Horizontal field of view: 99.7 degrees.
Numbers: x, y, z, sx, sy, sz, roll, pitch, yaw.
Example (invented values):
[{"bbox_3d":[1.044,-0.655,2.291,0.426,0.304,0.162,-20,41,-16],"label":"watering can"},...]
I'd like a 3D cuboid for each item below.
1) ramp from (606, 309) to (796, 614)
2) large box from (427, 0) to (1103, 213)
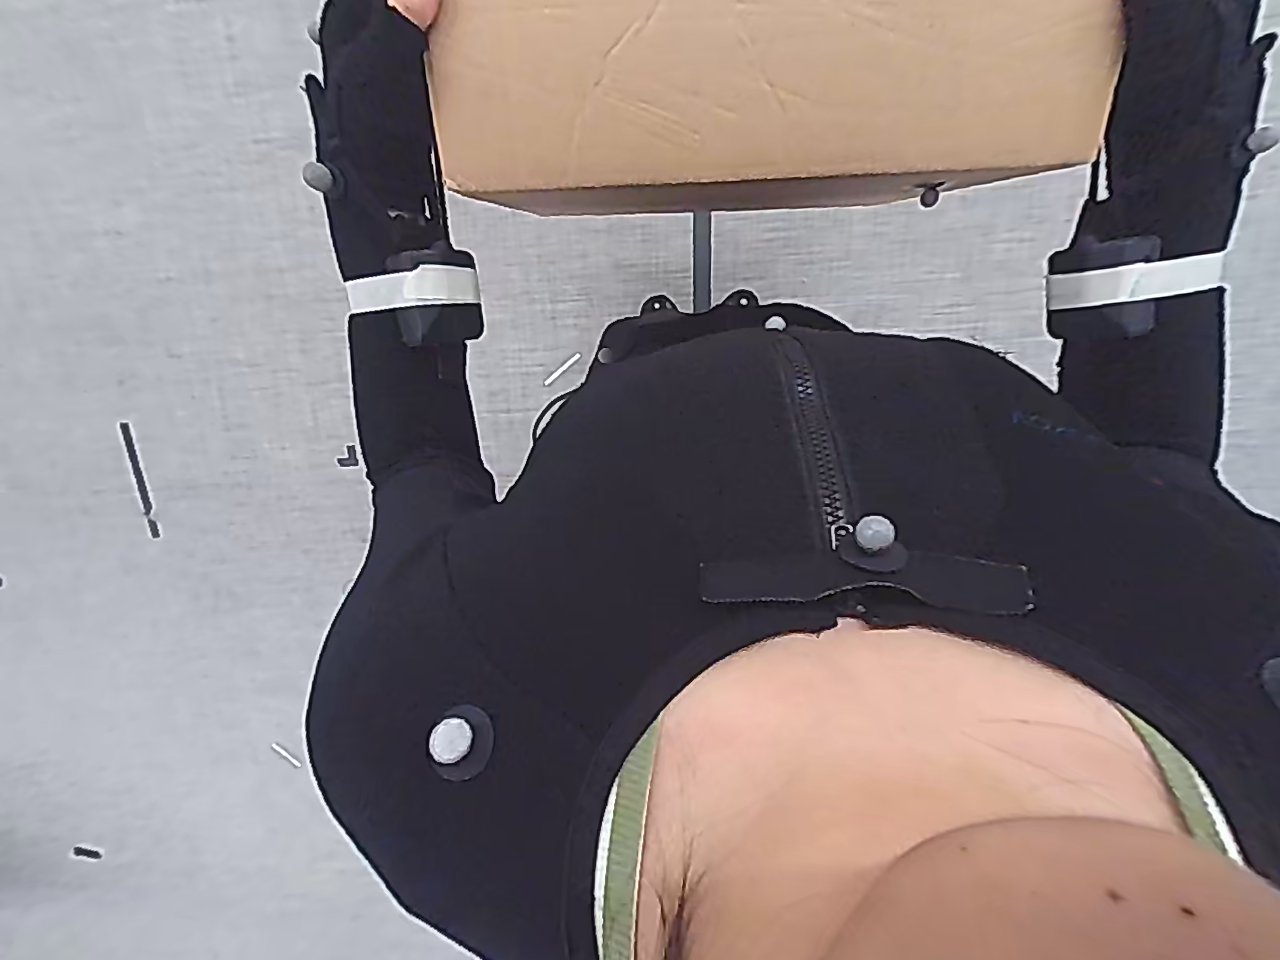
[{"bbox_3d":[0.184,0.011,1.615,0.509,0.206,0.991,-4,108,3],"label":"ramp"},{"bbox_3d":[0.073,-0.397,0.429,0.408,0.320,0.320,-2,113,2],"label":"large box"}]
